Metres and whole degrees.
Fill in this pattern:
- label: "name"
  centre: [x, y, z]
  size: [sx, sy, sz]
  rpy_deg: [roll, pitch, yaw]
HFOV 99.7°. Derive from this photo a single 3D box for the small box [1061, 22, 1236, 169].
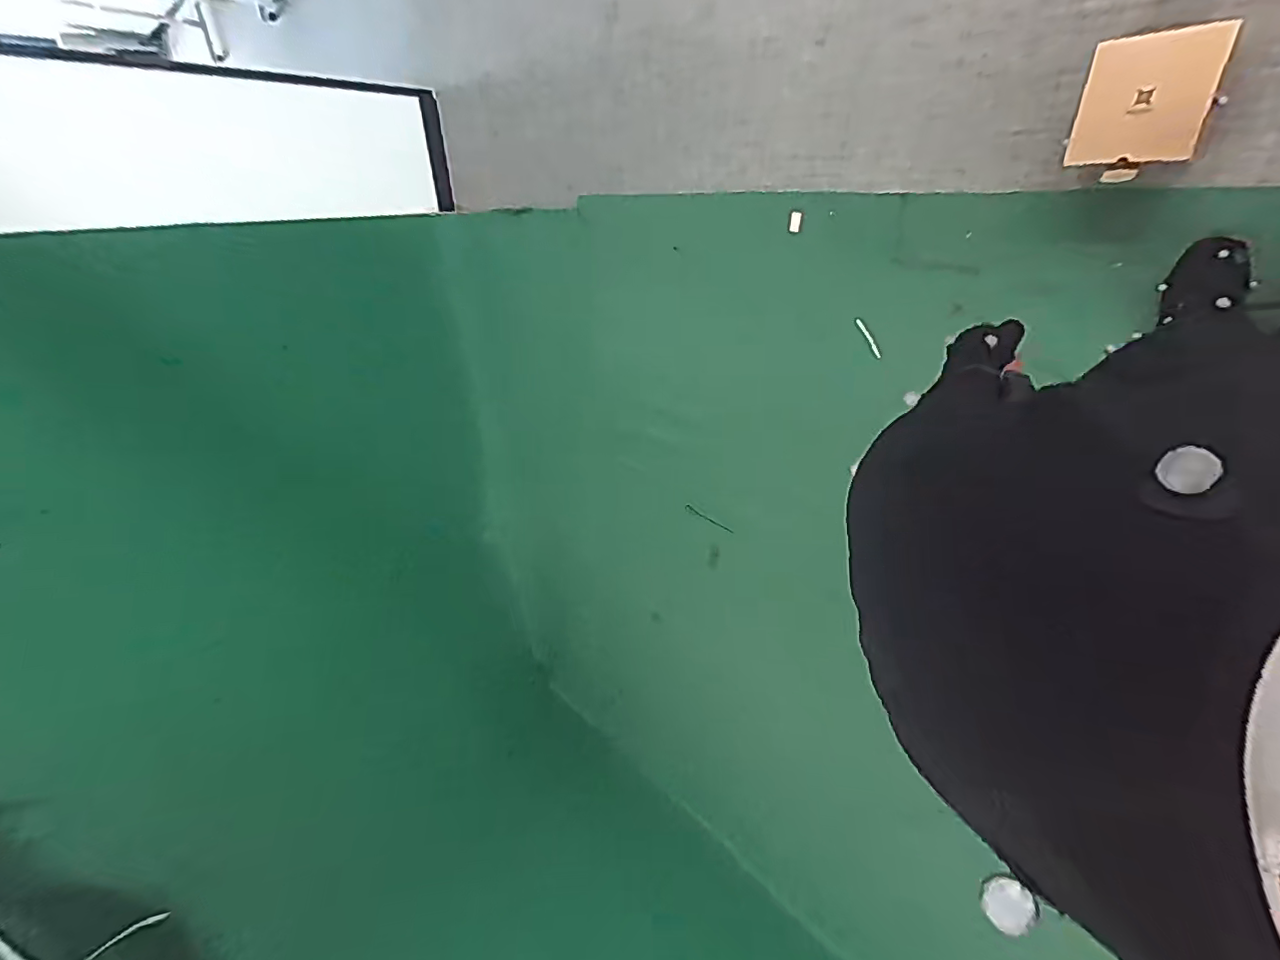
- label: "small box"
  centre: [0.851, -0.632, 0.913]
  size: [0.168, 0.176, 0.179]
  rpy_deg: [23, 126, 39]
